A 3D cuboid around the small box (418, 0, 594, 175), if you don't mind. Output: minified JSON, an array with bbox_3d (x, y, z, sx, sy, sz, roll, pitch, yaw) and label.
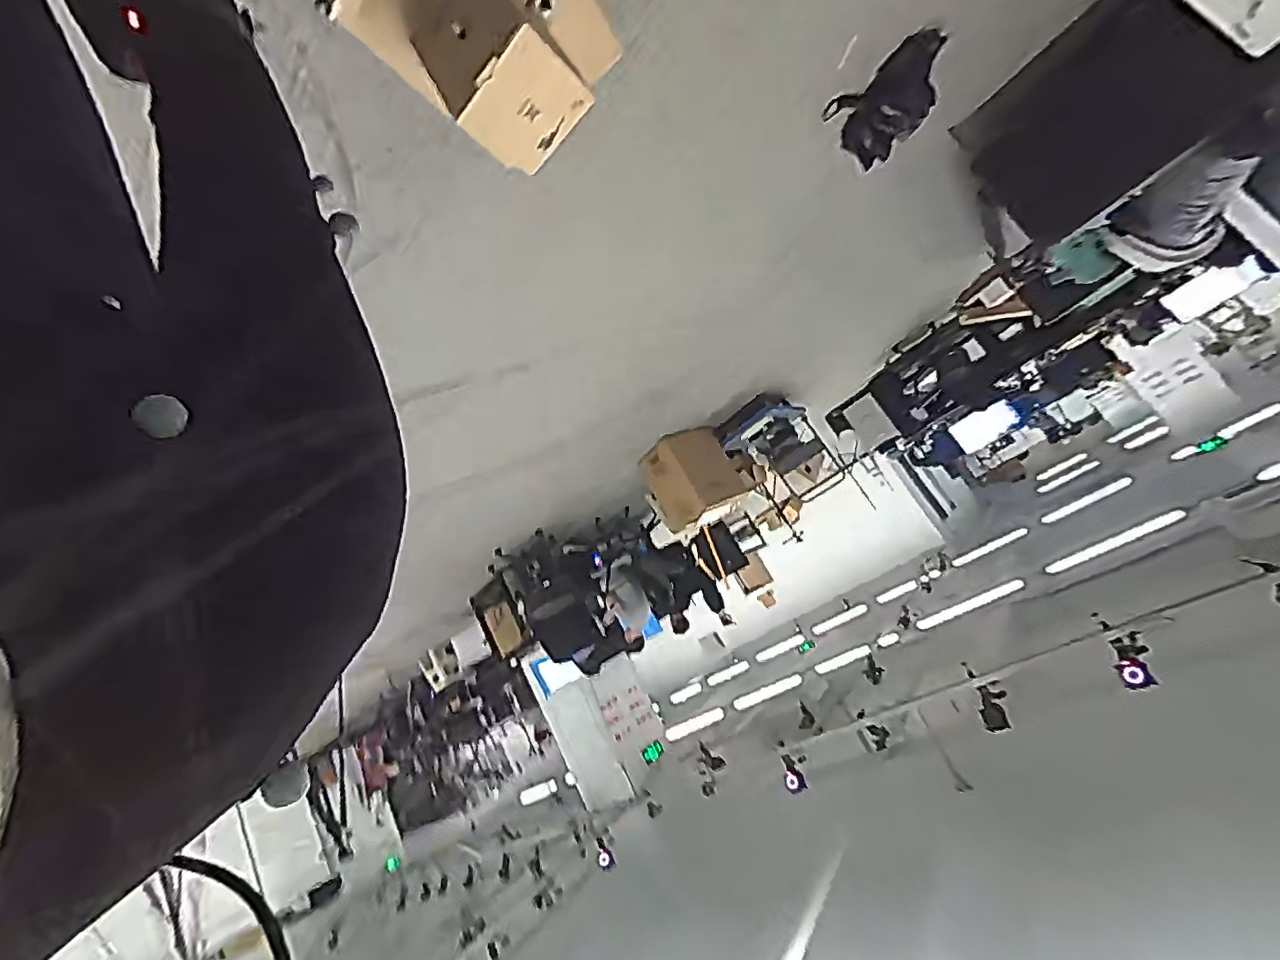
[{"bbox_3d":[-0.211,-0.635,0.845,0.168,0.176,0.179,-37,163,25],"label":"small box"}]
